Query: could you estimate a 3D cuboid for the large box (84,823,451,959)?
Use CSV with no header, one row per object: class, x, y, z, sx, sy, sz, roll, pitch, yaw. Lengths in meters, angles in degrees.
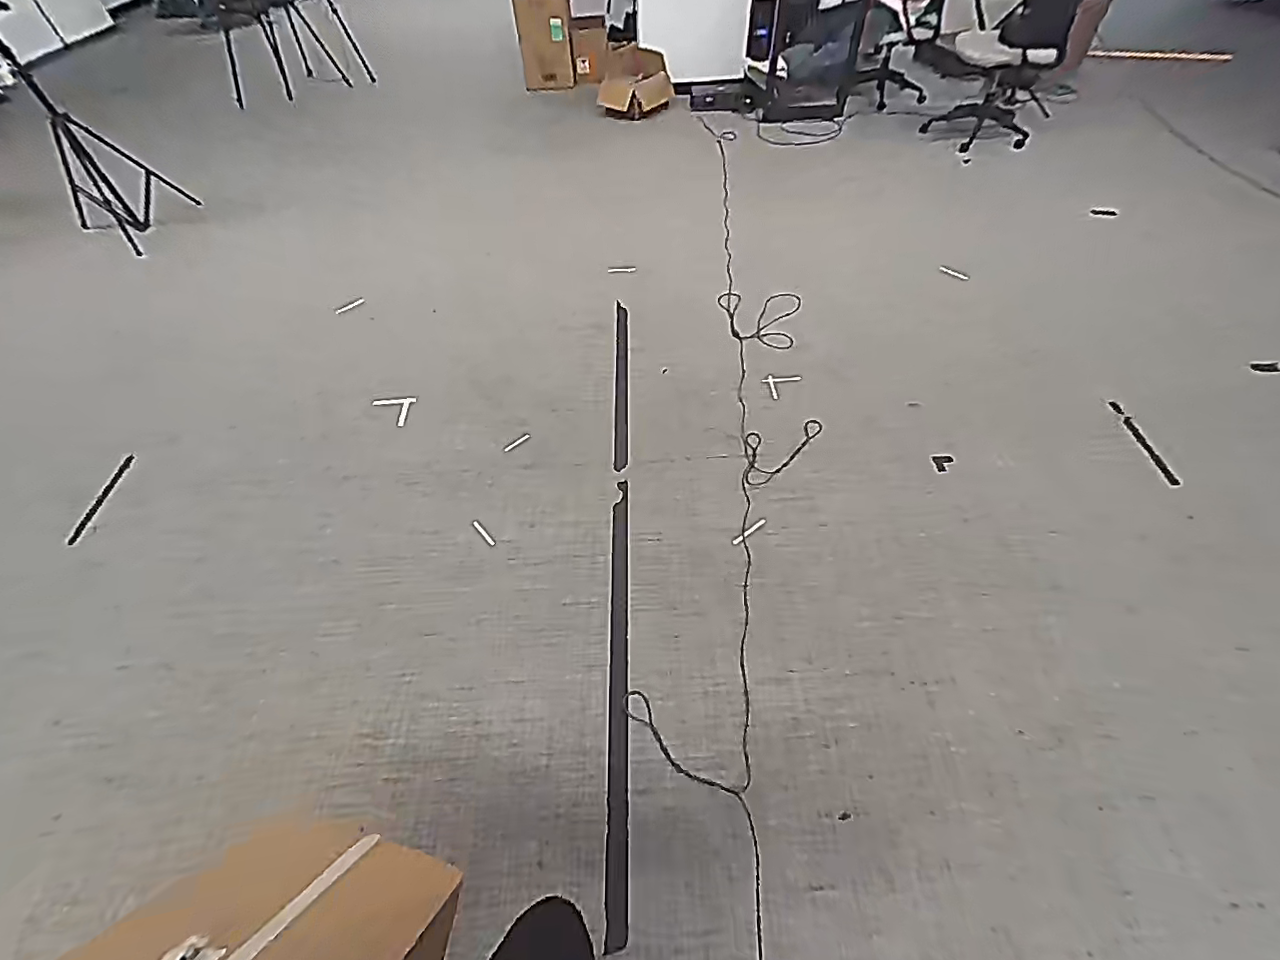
large box,-0.487,0.710,0.641,0.320,0.408,0.320,12,87,8
